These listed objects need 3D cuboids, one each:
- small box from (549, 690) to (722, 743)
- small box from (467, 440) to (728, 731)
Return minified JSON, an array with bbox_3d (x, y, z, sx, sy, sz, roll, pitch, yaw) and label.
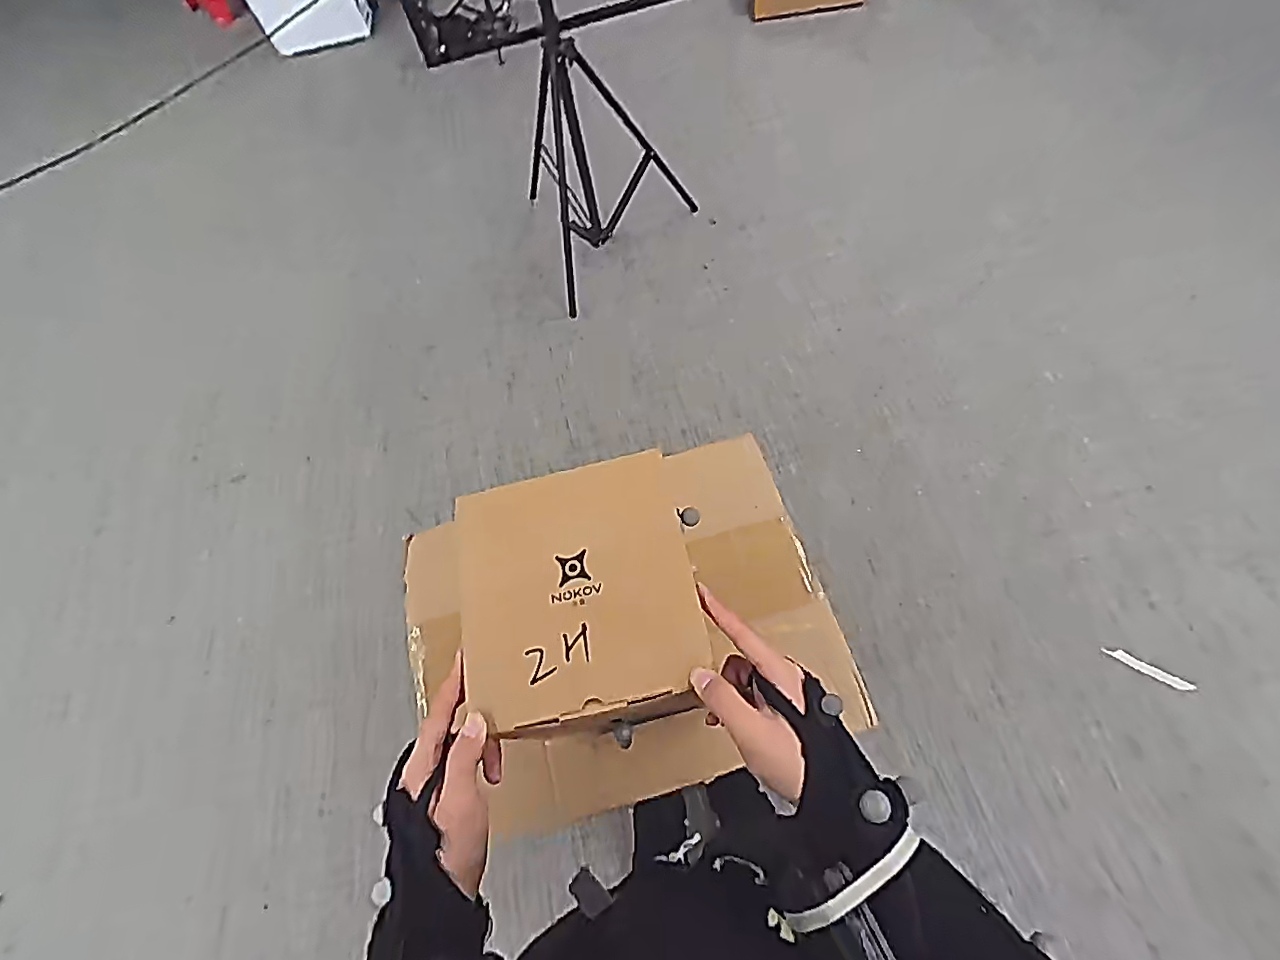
[{"bbox_3d":[-0.011,0.173,0.592,0.168,0.176,0.179,-15,63,0],"label":"small box"},{"bbox_3d":[-0.030,0.096,0.446,0.168,0.176,0.179,-13,63,2],"label":"small box"}]
